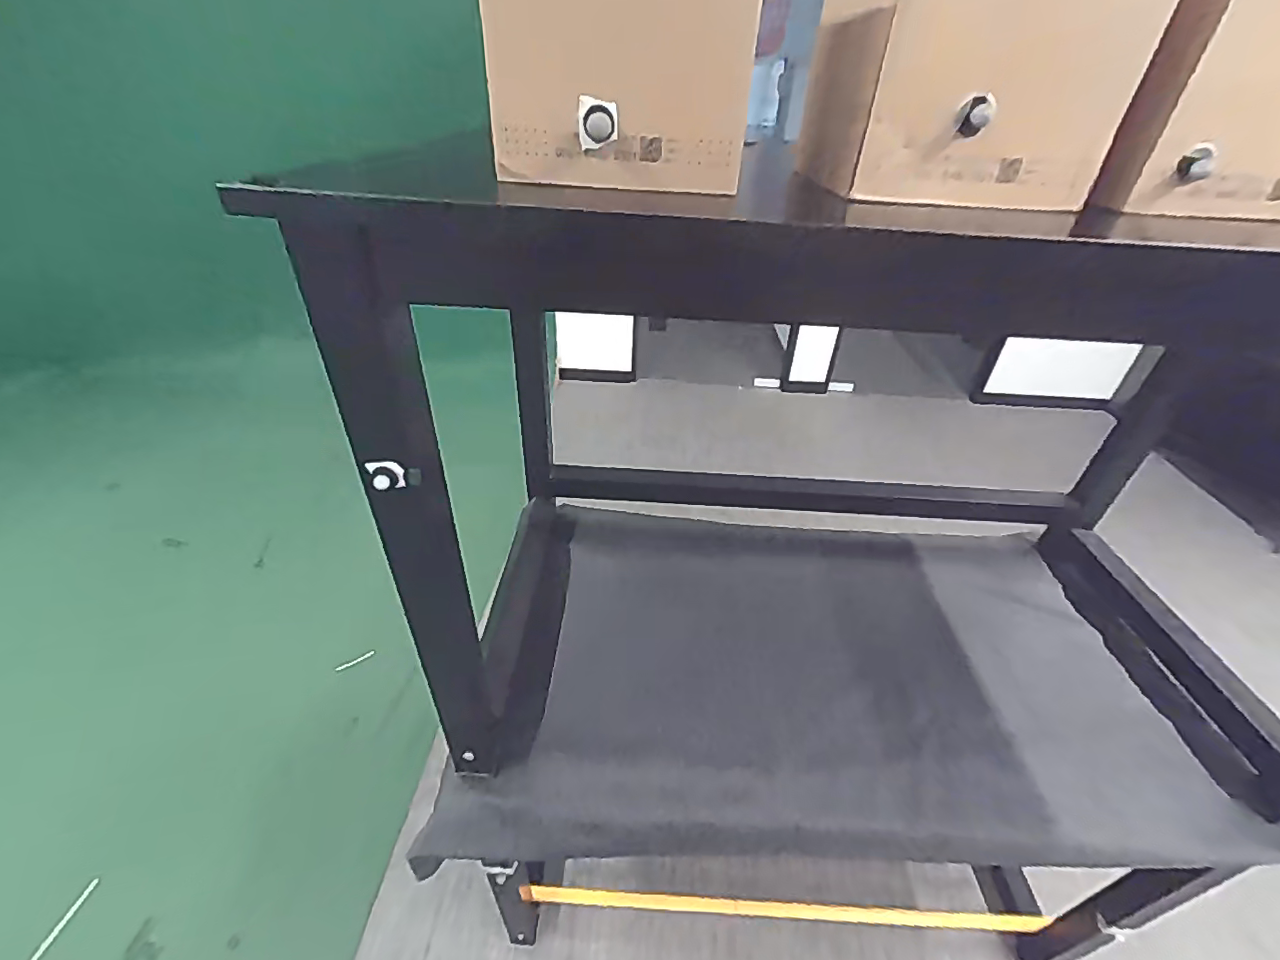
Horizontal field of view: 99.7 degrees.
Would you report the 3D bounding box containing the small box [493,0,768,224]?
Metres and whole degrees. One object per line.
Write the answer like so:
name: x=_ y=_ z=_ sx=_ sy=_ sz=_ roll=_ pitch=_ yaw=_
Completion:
small box: x=-0.009 y=-0.301 z=0.398 sx=0.168 sy=0.176 sz=0.179 roll=1 pitch=37 yaw=-1
